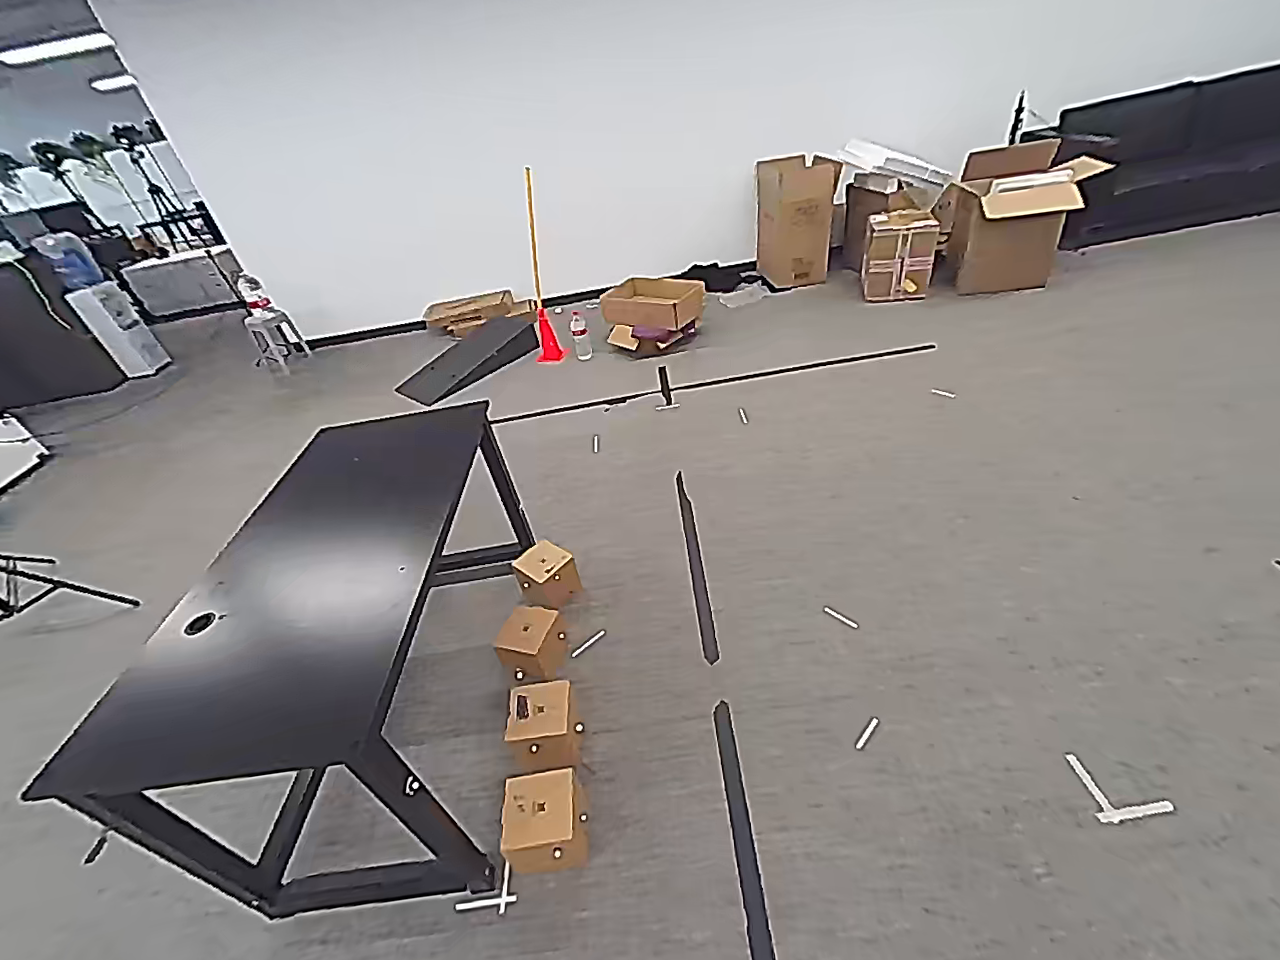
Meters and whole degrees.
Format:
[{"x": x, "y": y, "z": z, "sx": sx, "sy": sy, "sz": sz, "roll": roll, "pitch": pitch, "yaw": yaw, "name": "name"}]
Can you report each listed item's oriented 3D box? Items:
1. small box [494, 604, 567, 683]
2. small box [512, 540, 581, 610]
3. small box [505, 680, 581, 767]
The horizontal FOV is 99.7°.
[{"x": -0.358, "y": 0.549, "z": 1.820, "sx": 0.168, "sy": 0.176, "sz": 0.179, "roll": 3, "pitch": 40, "yaw": 20, "name": "small box"}, {"x": -0.353, "y": 0.363, "z": 2.058, "sx": 0.179, "sy": 0.176, "sz": 0.168, "roll": 22, "pitch": 48, "yaw": 36, "name": "small box"}, {"x": -0.277, "y": 0.714, "z": 1.581, "sx": 0.179, "sy": 0.176, "sz": 0.168, "roll": -9, "pitch": 37, "yaw": 1, "name": "small box"}]
